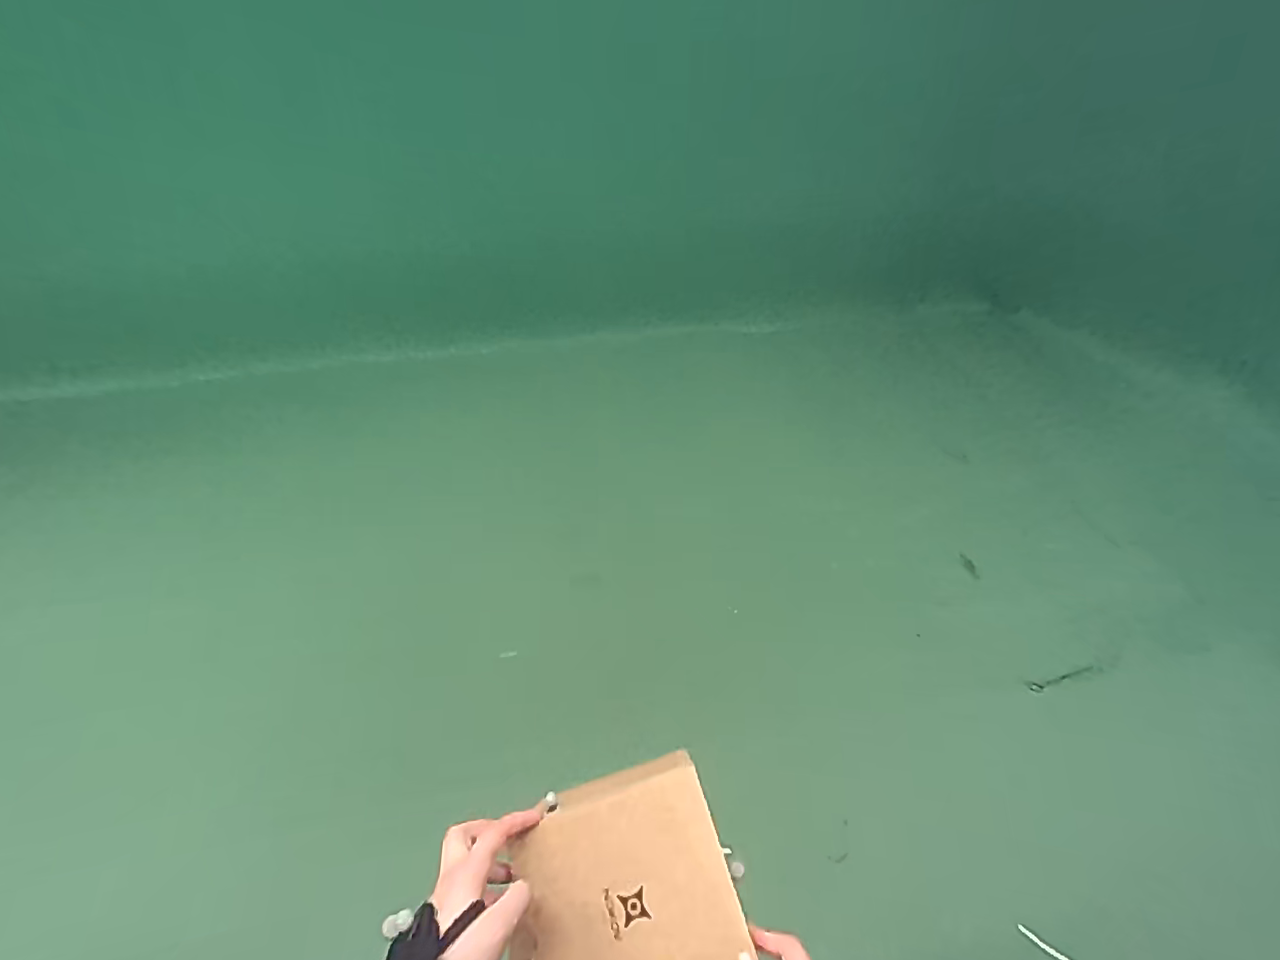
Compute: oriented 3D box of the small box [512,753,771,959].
[{"bbox_3d":[0.000,0.368,0.501,0.179,0.176,0.168,-17,67,-5],"label":"small box"}]
